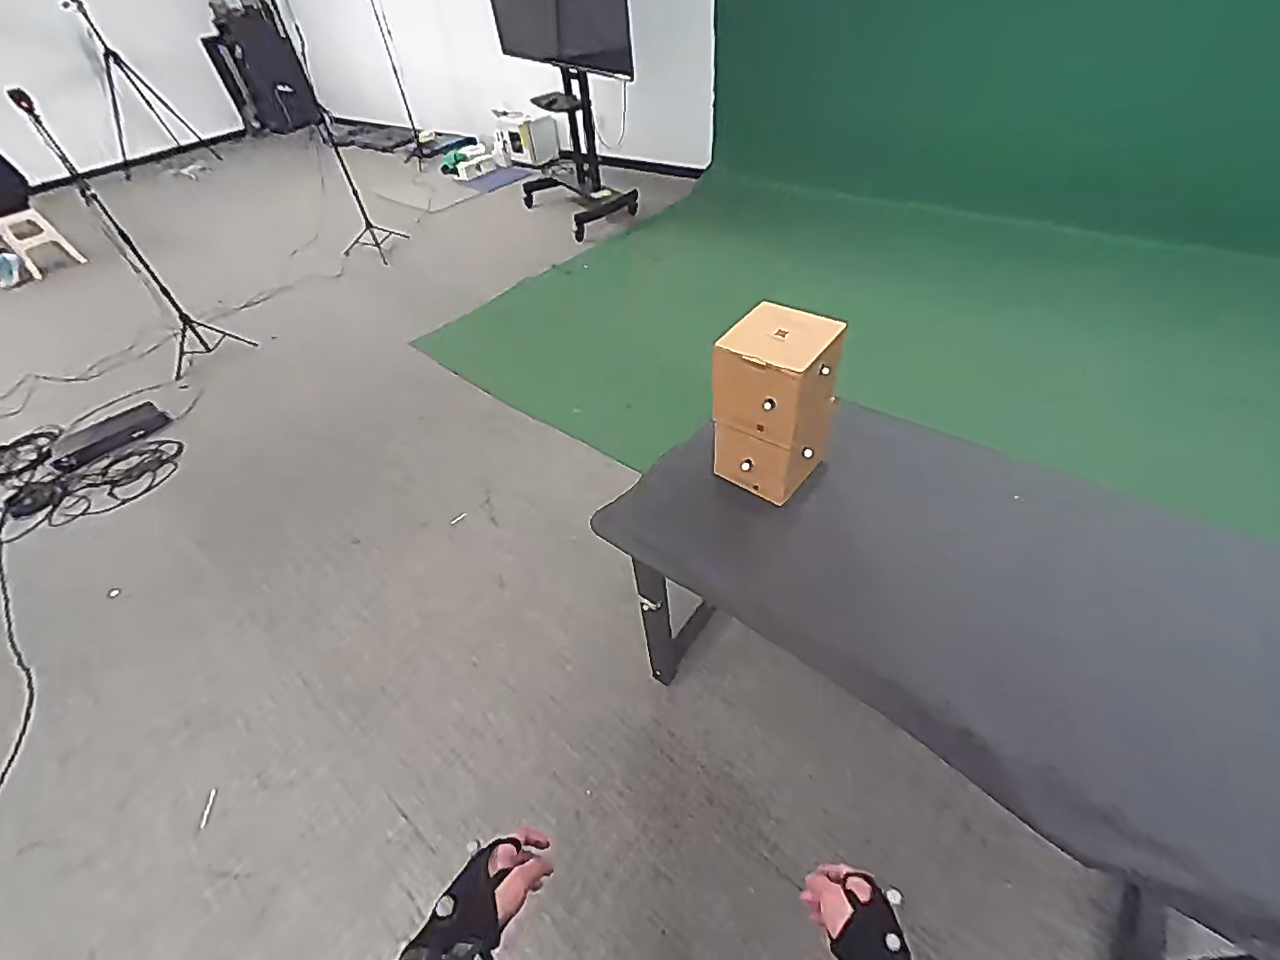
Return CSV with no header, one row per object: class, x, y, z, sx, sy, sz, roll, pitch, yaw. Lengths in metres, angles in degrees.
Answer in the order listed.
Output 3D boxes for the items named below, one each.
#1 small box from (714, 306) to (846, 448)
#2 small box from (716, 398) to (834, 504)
small box,0.250,-0.187,0.989,0.168,0.176,0.179,27,54,28
small box,0.273,-0.081,1.111,0.168,0.176,0.179,29,56,30
